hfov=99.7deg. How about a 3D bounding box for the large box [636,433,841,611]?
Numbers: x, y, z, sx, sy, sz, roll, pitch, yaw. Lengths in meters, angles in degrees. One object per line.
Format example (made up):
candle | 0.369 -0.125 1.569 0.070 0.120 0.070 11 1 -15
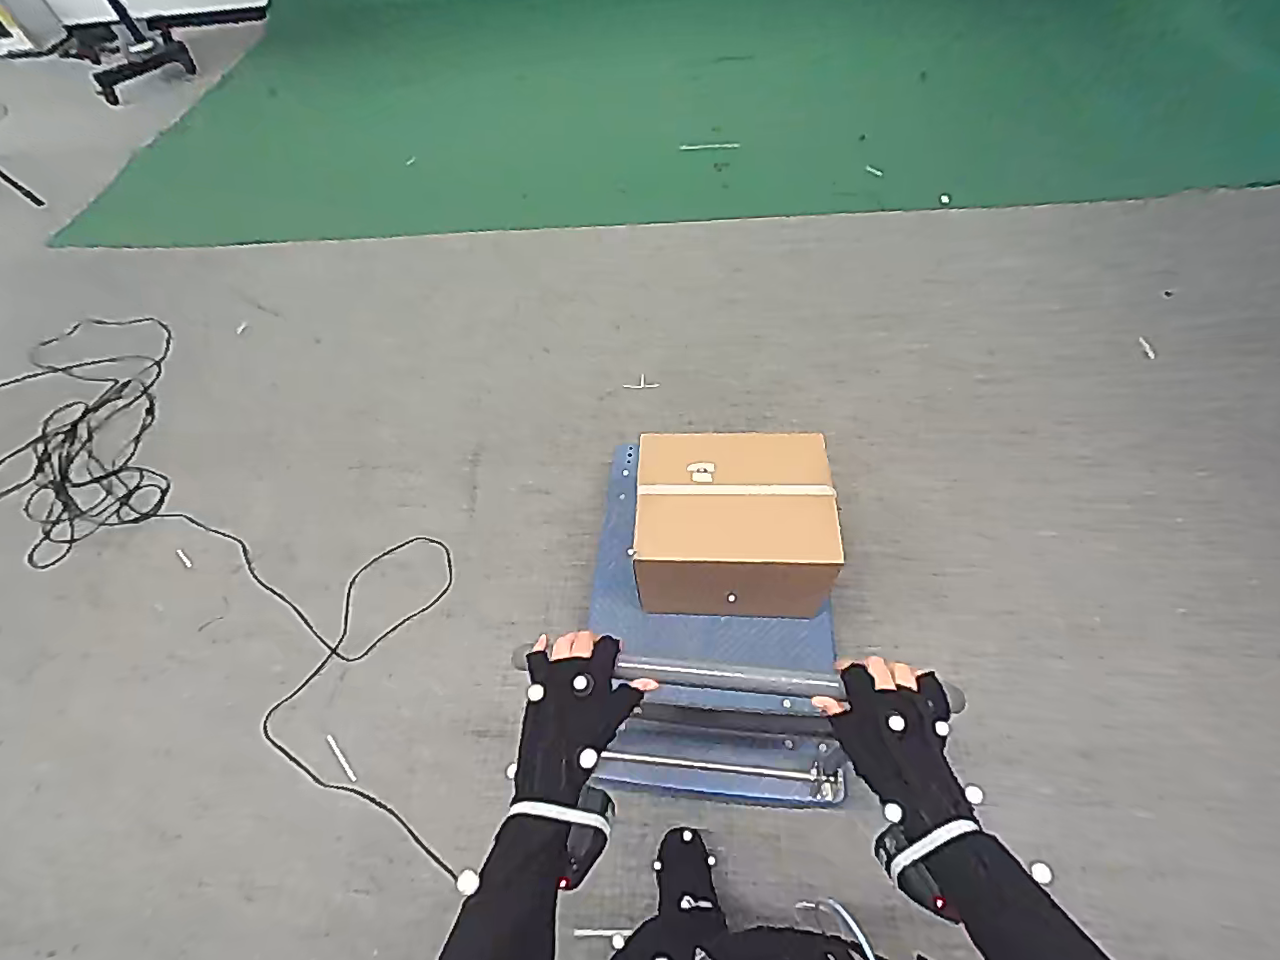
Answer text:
large box | 0.208 0.107 1.254 0.408 0.320 0.320 0 56 5
